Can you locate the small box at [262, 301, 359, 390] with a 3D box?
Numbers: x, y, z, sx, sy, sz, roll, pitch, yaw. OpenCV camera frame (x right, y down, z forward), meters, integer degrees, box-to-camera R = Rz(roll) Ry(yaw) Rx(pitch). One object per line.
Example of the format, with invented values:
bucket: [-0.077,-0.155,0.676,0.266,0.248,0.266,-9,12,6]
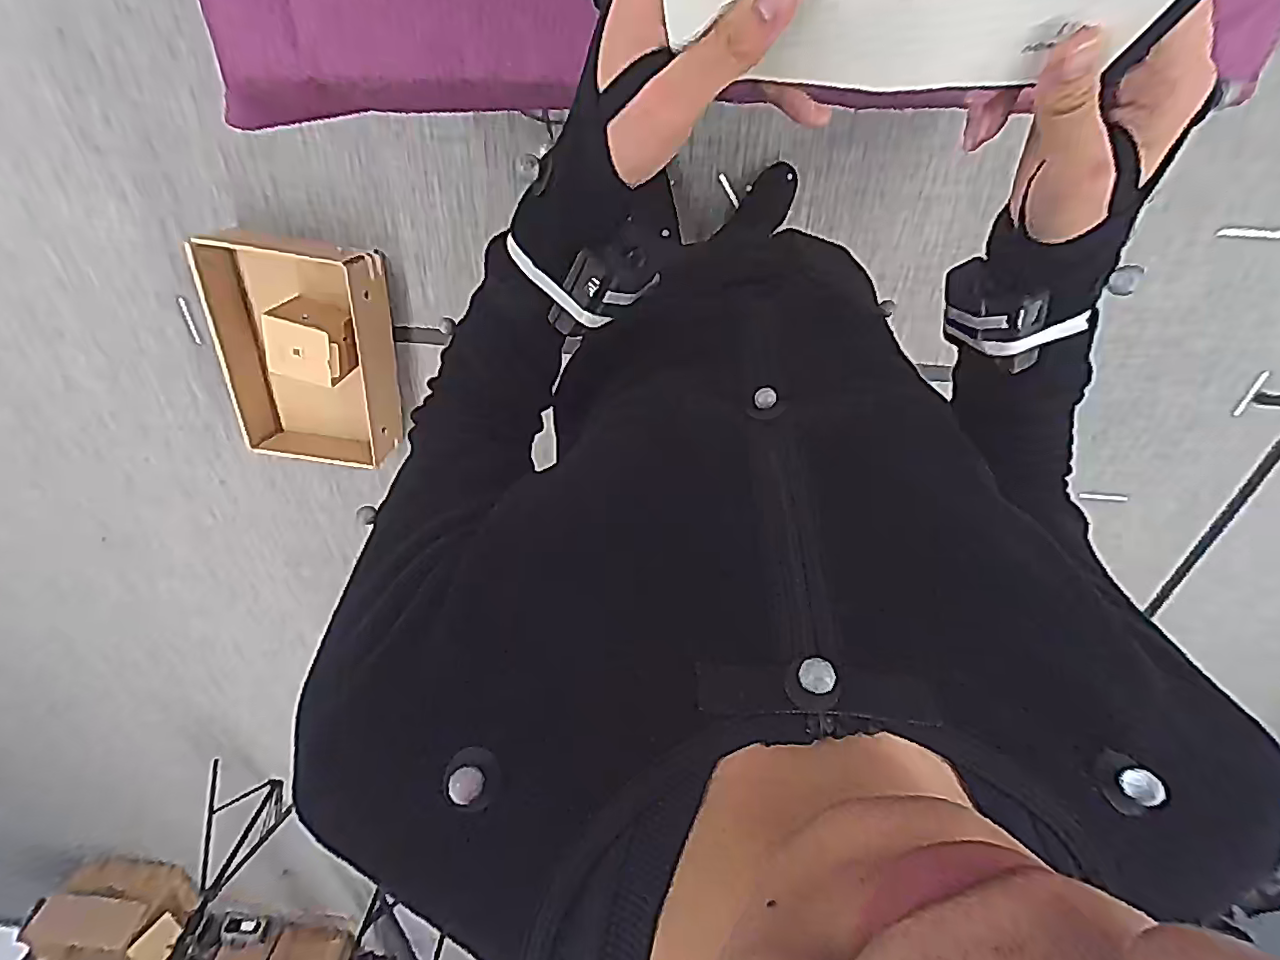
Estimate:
small box: [-0.899,-0.376,1.495,0.179,0.176,0.168,15,124,-6]
